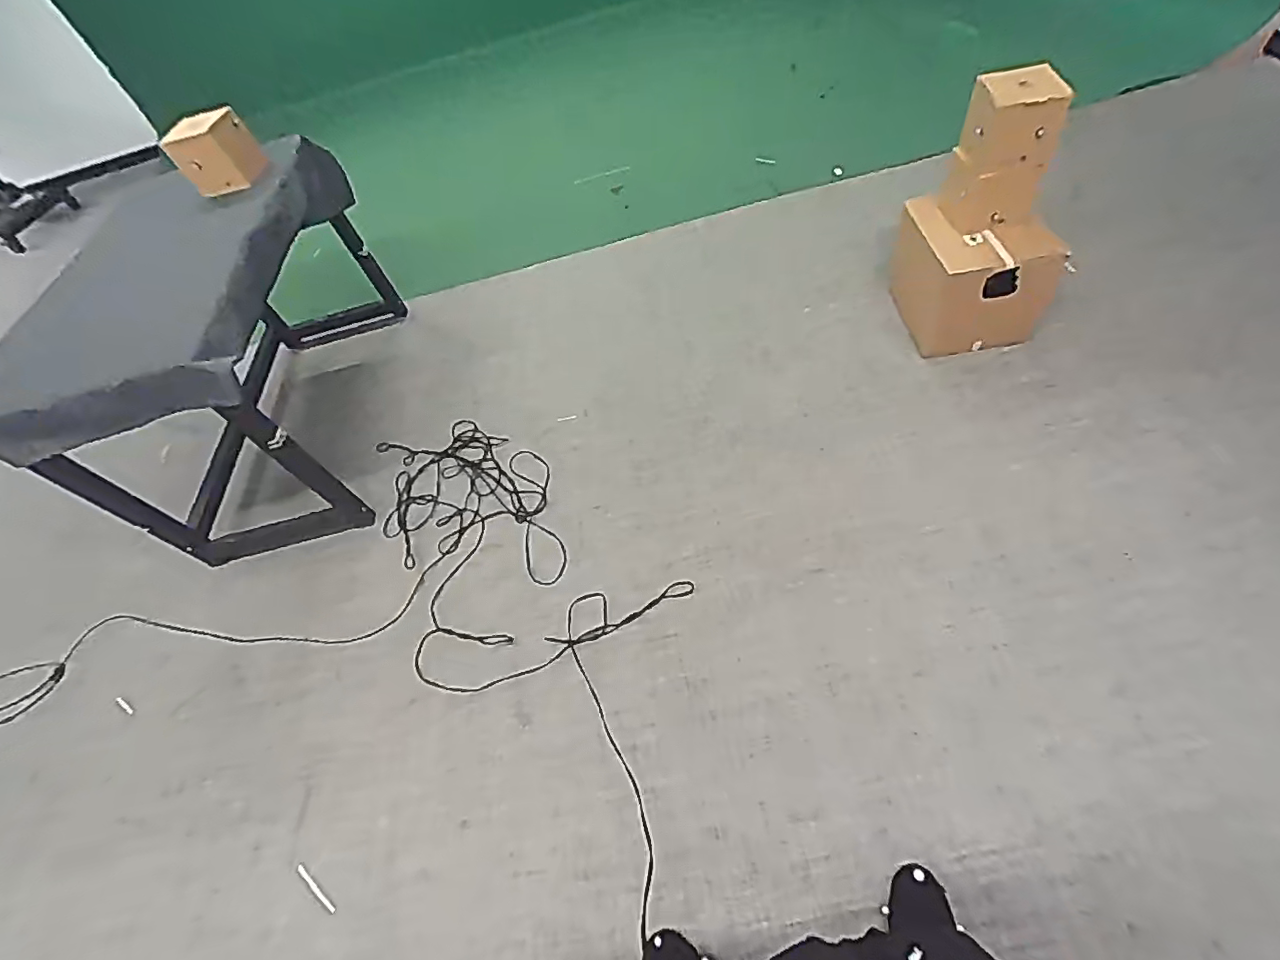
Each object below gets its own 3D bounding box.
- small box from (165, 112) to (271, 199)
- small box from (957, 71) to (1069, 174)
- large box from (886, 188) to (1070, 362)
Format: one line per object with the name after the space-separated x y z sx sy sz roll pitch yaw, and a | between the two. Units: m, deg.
-1.299 -1.000 1.683 0.168 0.176 0.179 -9 53 8 | small box
0.956 -0.917 1.403 0.168 0.176 0.179 -4 54 9 | small box
1.020 -0.641 1.701 0.320 0.320 0.408 -9 55 8 | large box
